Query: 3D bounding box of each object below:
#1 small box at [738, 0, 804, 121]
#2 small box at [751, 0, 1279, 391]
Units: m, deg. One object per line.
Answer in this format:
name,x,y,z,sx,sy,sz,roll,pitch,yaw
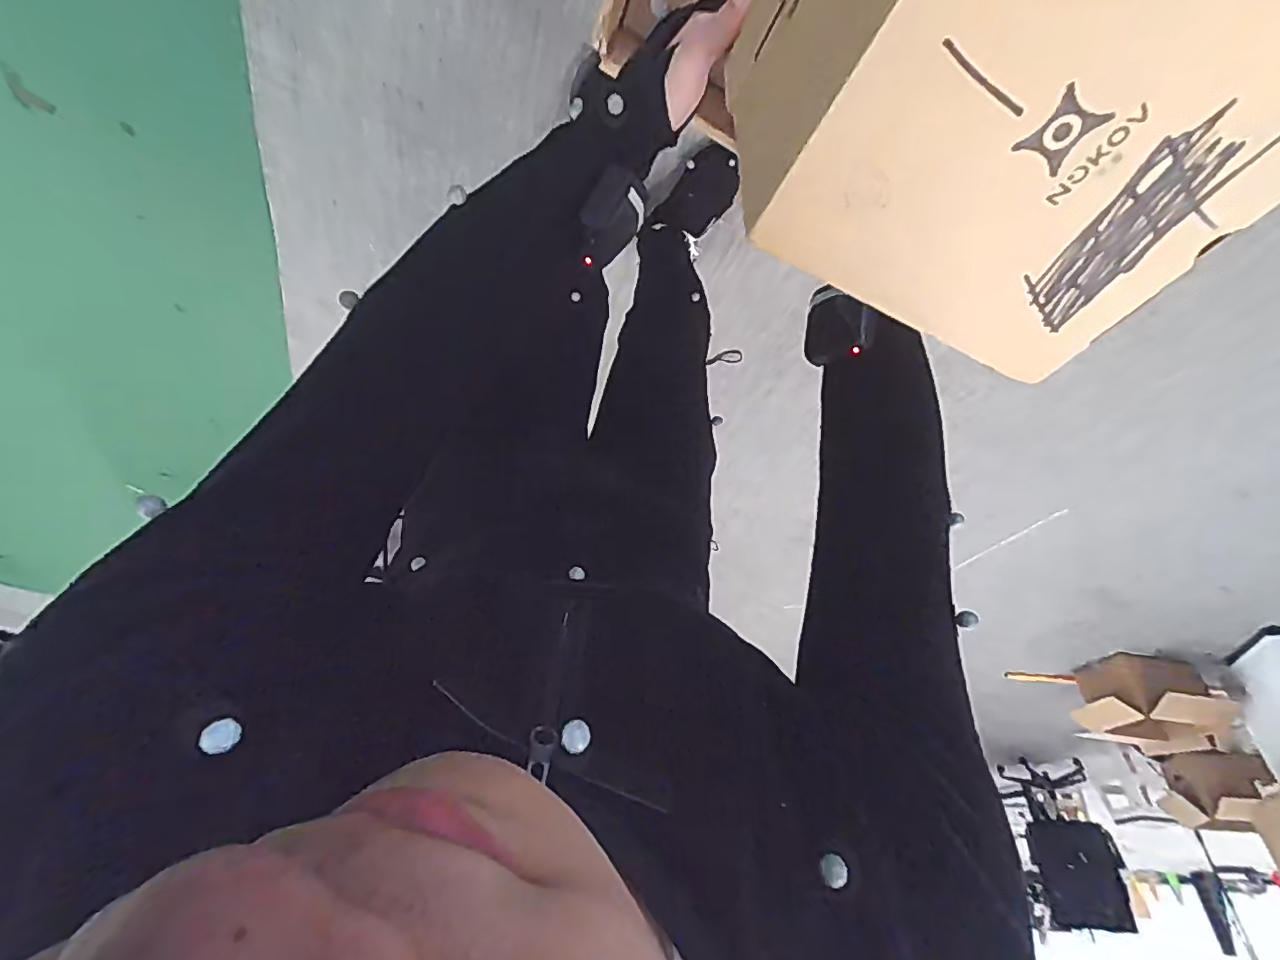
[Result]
small box,0.179,-0.304,0.355,0.179,0.176,0.168,21,139,-17
small box,0.170,-0.178,0.249,0.179,0.176,0.168,20,138,-16
